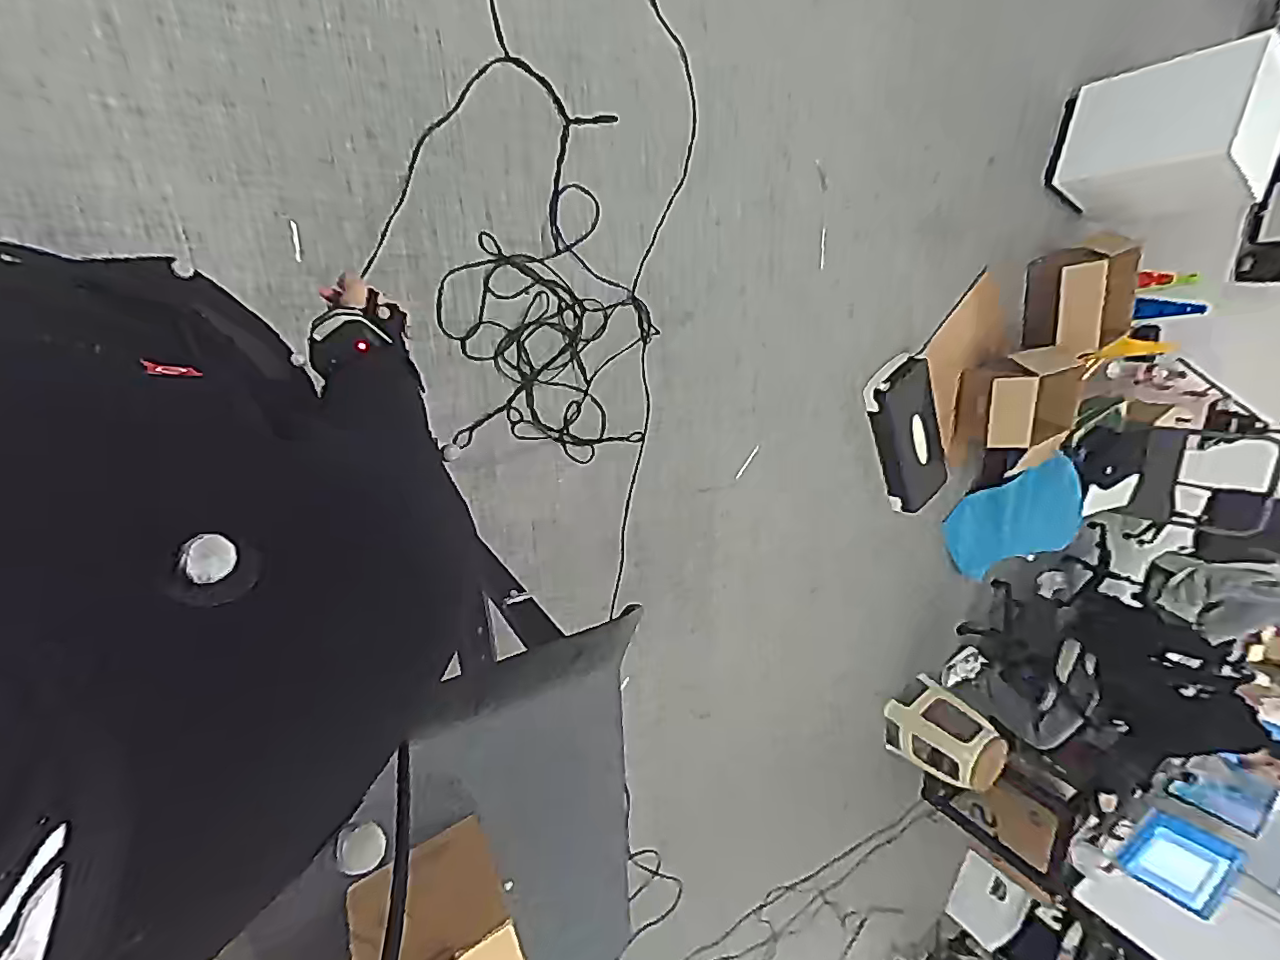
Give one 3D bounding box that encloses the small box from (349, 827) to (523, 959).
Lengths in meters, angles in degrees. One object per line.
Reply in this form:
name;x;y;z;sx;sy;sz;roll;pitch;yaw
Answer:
small box;-0.253;0.586;0.685;0.168;0.176;0.179;-19;115;-26
